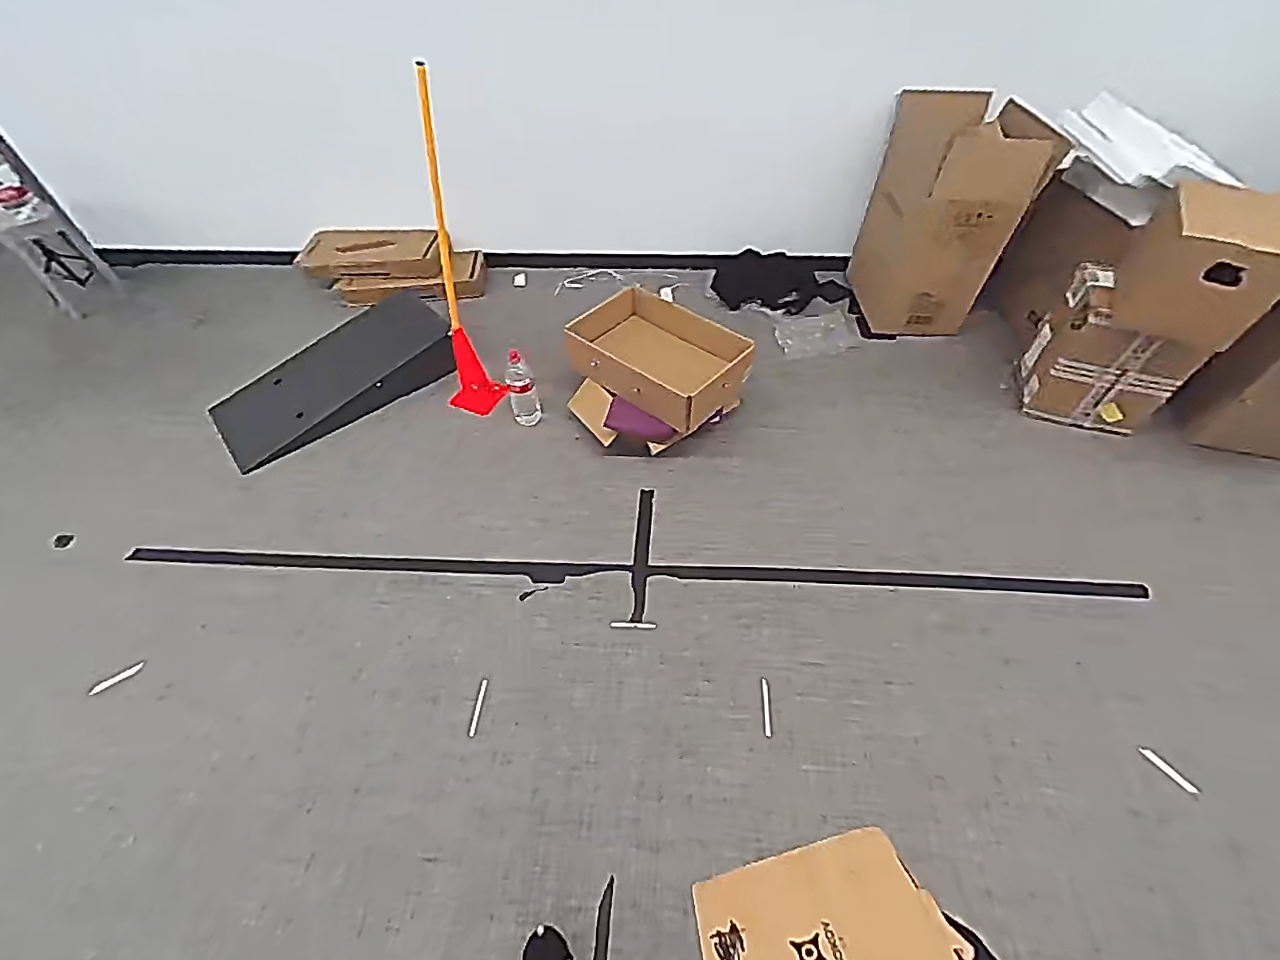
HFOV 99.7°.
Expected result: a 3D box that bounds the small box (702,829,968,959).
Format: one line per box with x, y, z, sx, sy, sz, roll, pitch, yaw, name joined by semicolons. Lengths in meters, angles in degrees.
0.162;0.423;0.414;0.179;0.176;0.168;-17;9;0;small box
